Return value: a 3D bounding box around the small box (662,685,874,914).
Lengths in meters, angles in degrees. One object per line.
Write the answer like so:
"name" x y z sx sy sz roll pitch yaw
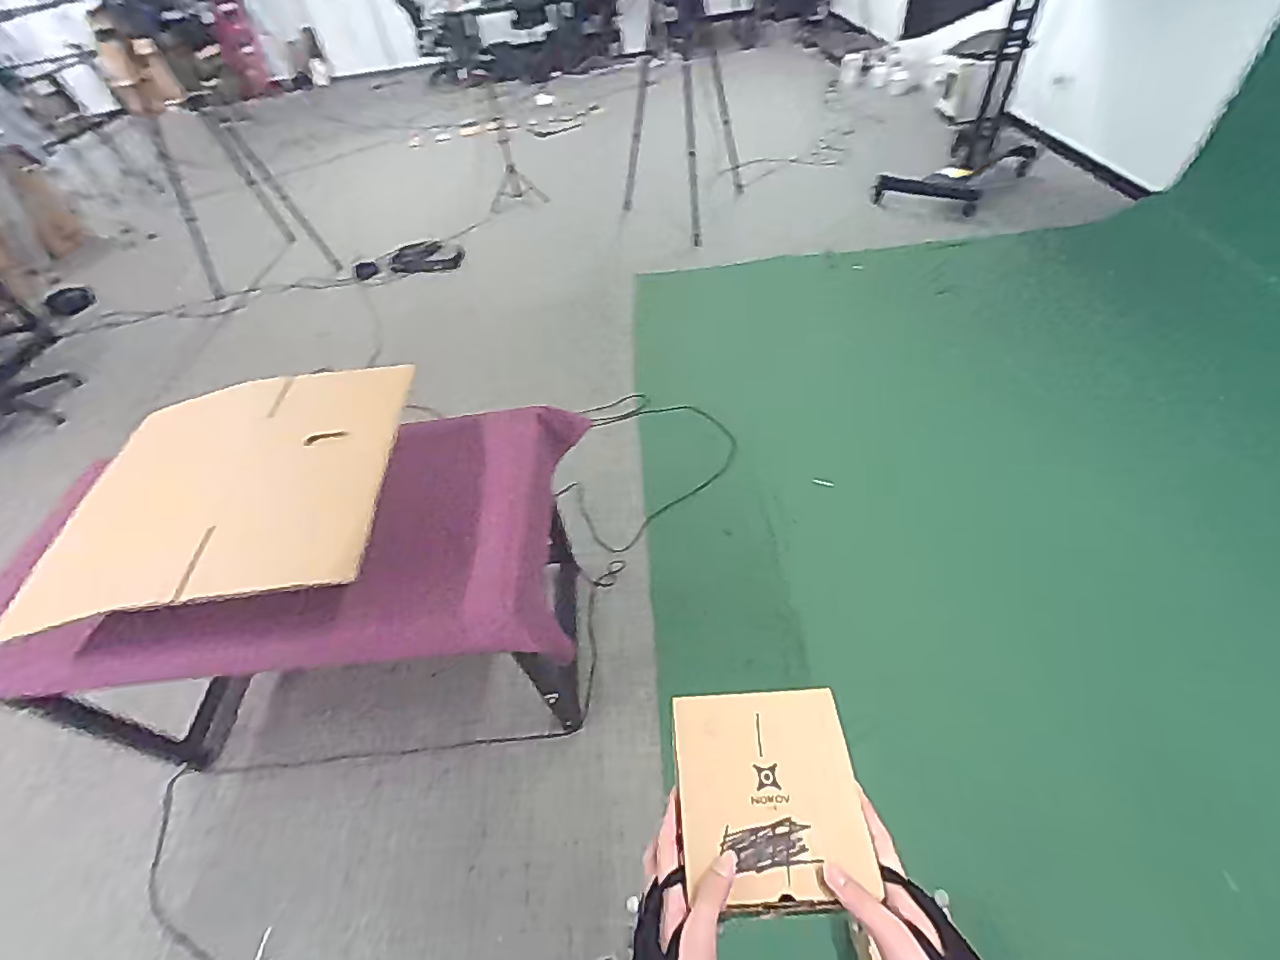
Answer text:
"small box" 0.113 0.332 0.556 0.168 0.176 0.179 -4 49 0
